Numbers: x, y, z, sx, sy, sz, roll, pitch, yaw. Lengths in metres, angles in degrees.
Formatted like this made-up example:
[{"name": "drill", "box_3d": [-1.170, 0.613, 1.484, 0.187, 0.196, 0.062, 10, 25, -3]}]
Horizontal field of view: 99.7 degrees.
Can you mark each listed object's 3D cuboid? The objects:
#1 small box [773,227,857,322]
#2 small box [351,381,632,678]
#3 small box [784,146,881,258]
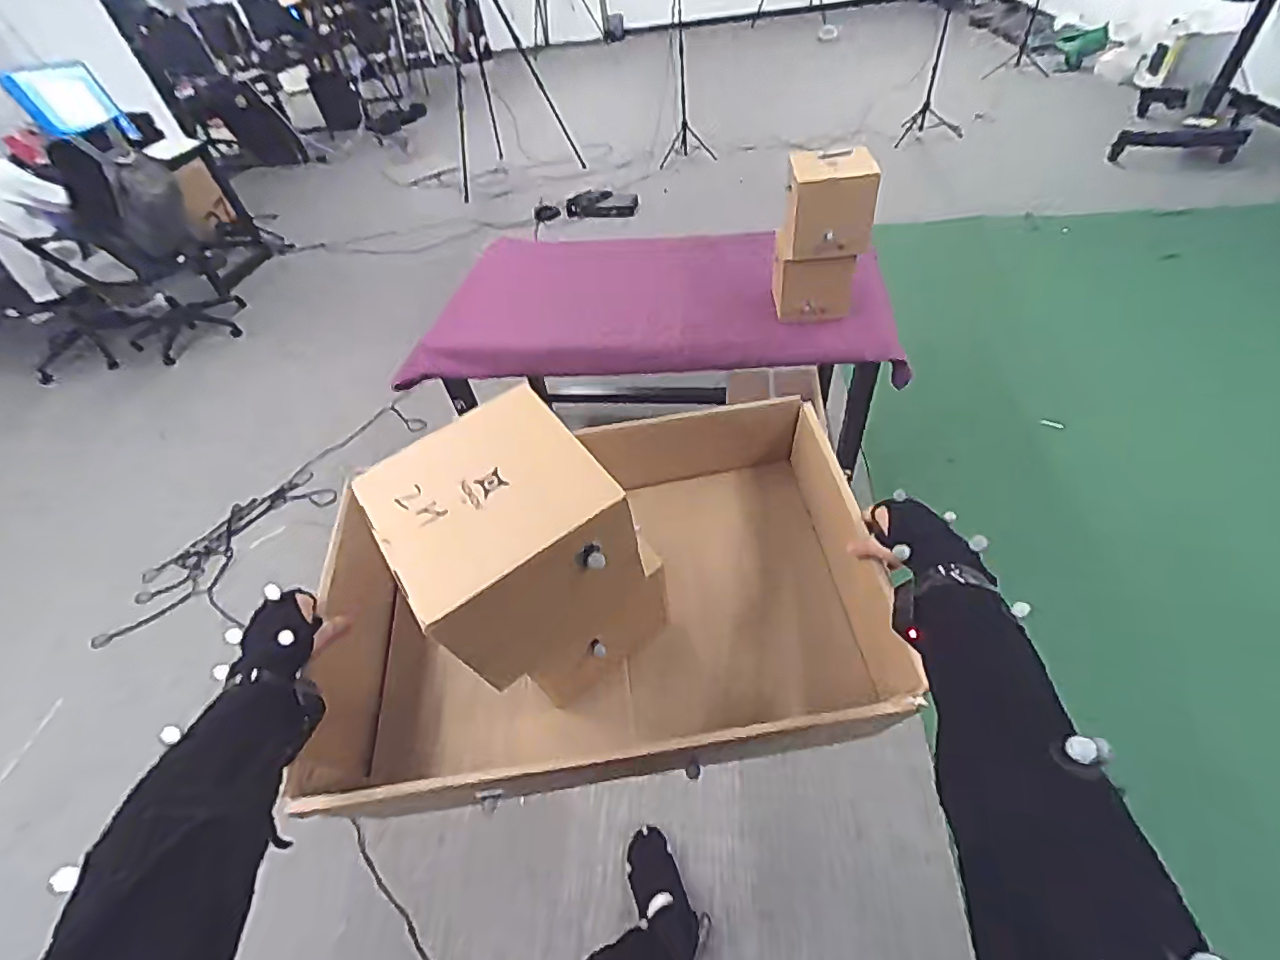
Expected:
[{"name": "small box", "box_3d": [0.418, -0.505, 1.319, 0.168, 0.176, 0.179, -2, 46, 9]}, {"name": "small box", "box_3d": [-0.120, 0.048, 0.501, 0.179, 0.176, 0.168, -33, 56, -15]}, {"name": "small box", "box_3d": [0.413, -0.609, 1.191, 0.168, 0.176, 0.179, -2, 46, 9]}]
